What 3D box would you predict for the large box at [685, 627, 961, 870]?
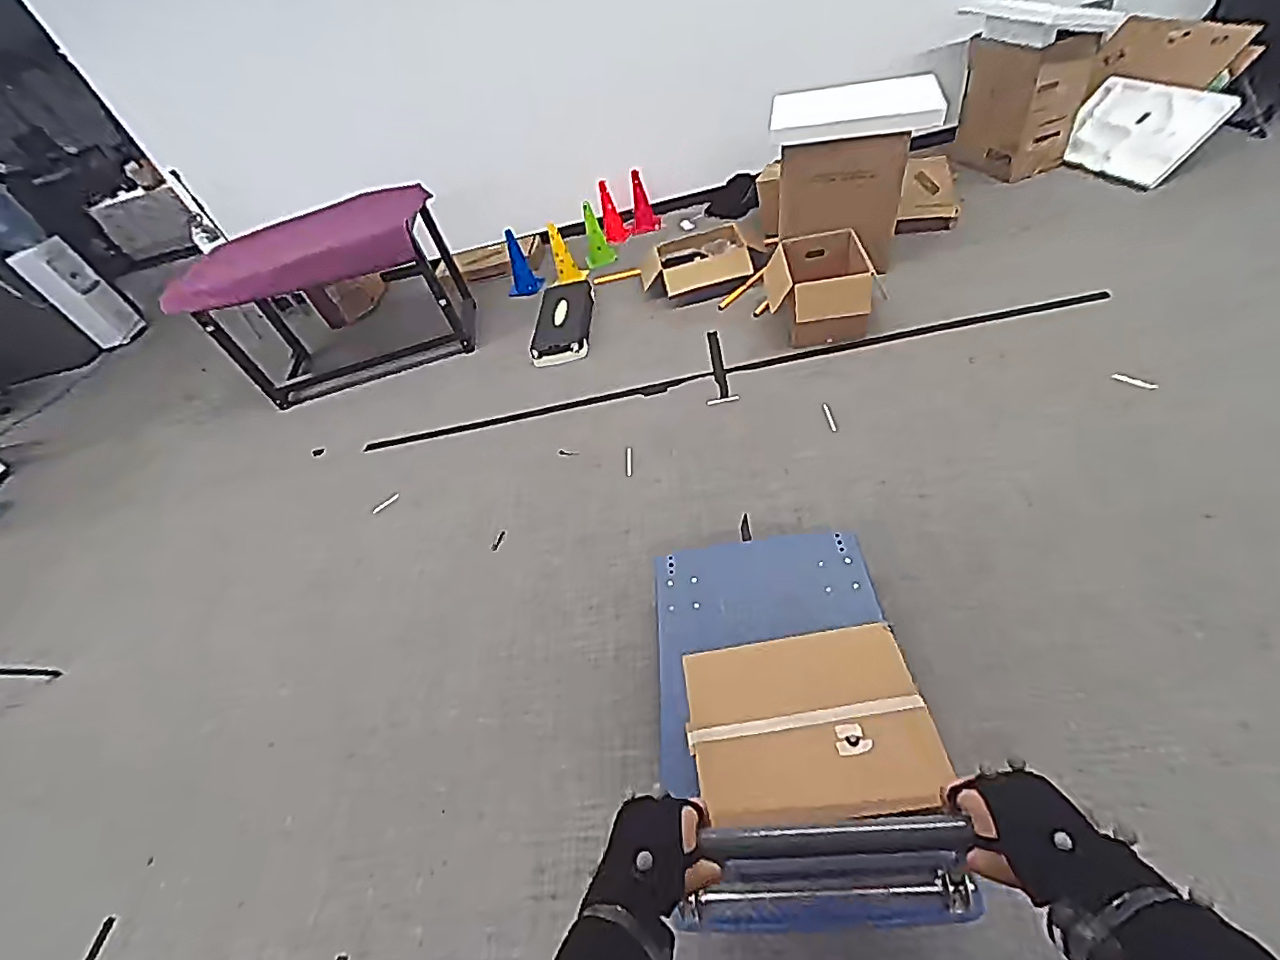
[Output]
[{"bbox_3d":[0.323,0.533,1.064,0.408,0.320,0.320,-11,46,5],"label":"large box"}]
